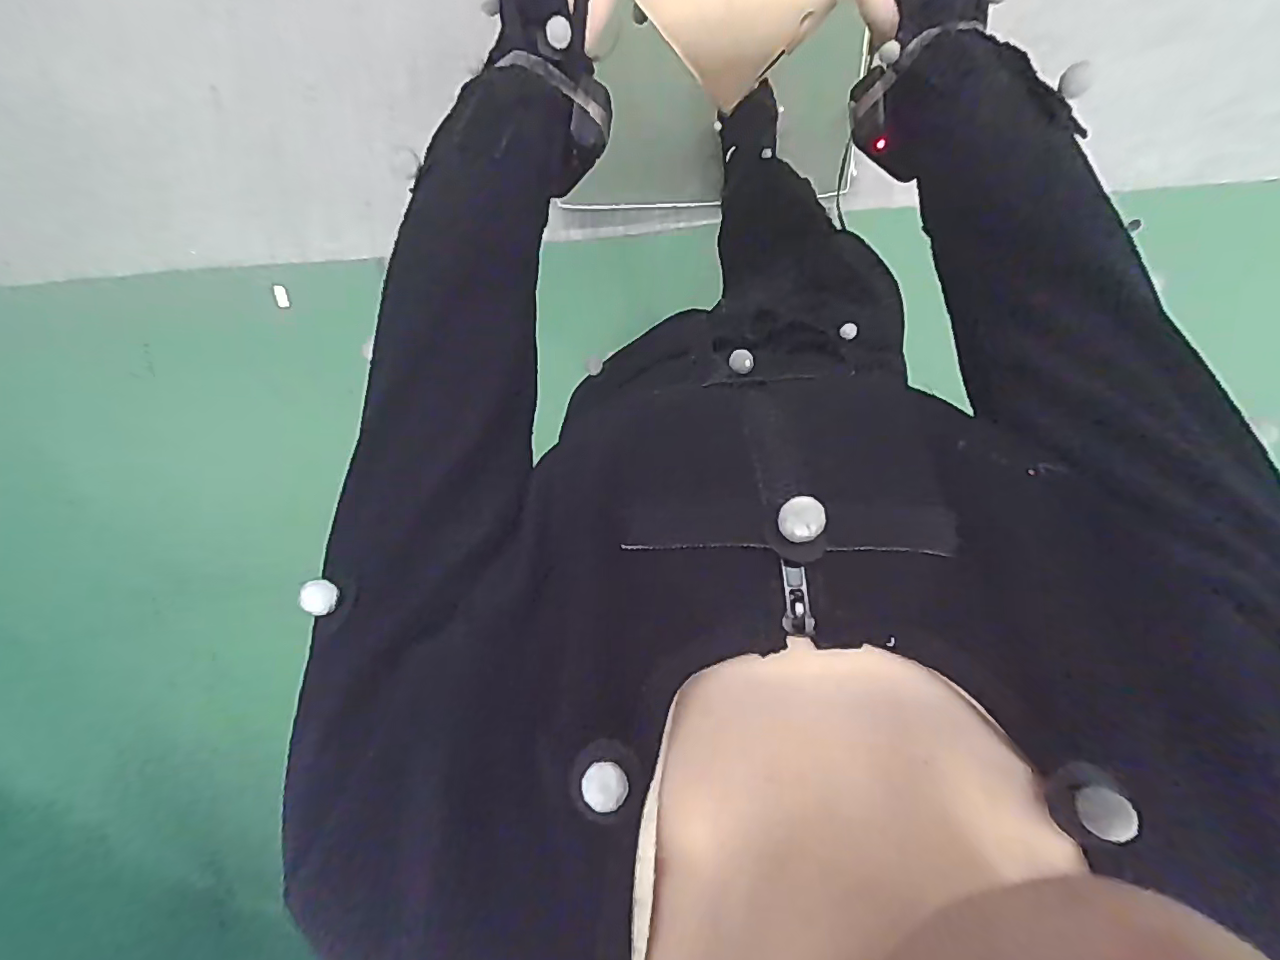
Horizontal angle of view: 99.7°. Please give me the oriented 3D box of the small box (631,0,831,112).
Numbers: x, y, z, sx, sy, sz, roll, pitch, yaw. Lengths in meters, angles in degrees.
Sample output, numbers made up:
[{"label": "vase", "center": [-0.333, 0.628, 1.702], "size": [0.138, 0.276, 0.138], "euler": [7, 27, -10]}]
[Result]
[{"label": "small box", "center": [0.062, -0.442, 0.417], "size": [0.179, 0.176, 0.168], "euler": [34, 126, -31]}]
